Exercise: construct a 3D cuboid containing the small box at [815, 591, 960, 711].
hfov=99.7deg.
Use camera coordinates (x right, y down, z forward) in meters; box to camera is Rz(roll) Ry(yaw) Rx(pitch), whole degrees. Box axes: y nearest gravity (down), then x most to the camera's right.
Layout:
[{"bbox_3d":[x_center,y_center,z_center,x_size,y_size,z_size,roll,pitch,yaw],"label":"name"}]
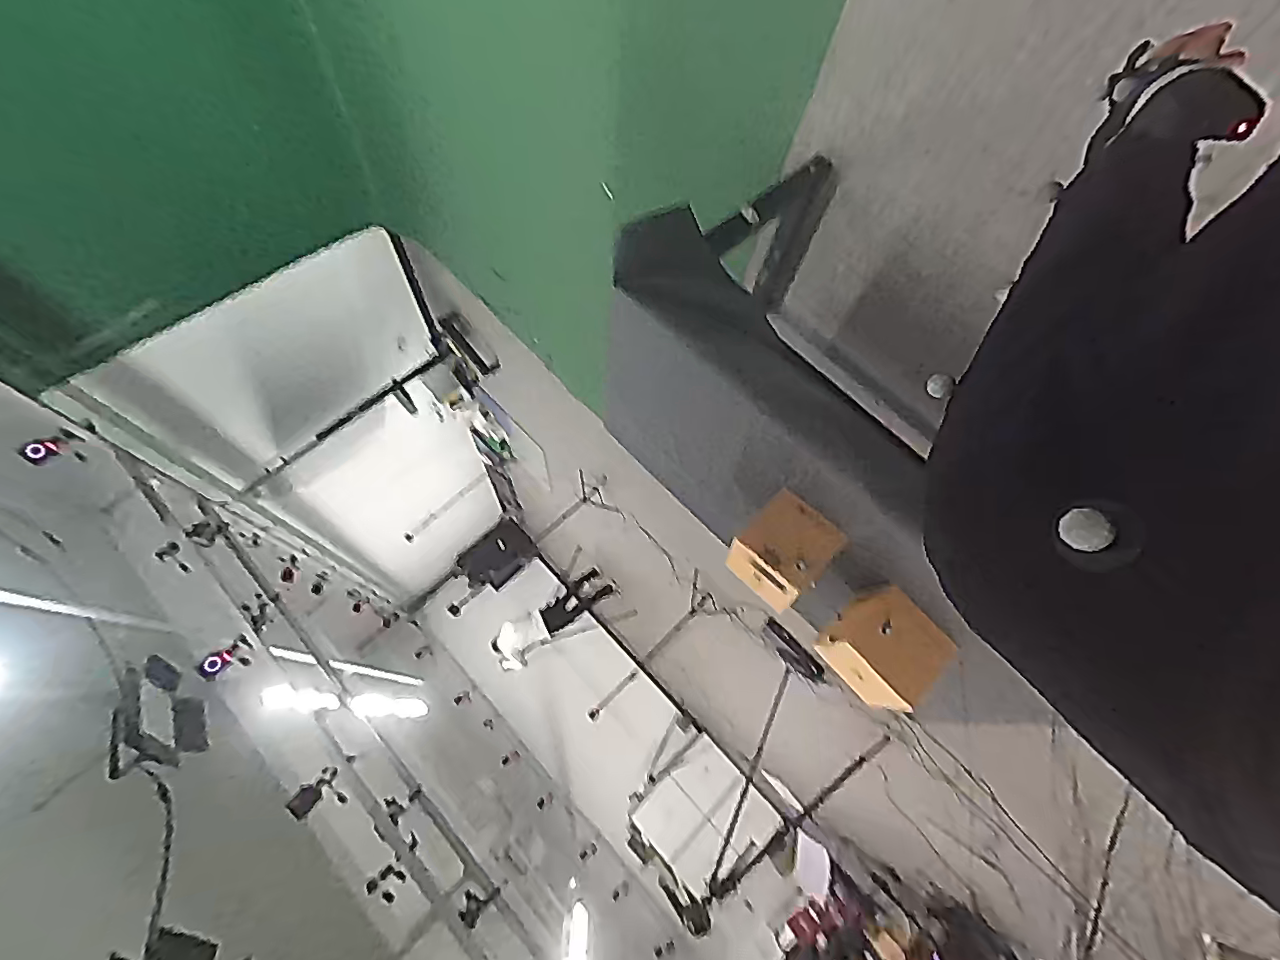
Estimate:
[{"bbox_3d":[0.509,0.346,1.121,0.179,0.176,0.168,45,161,8],"label":"small box"}]
